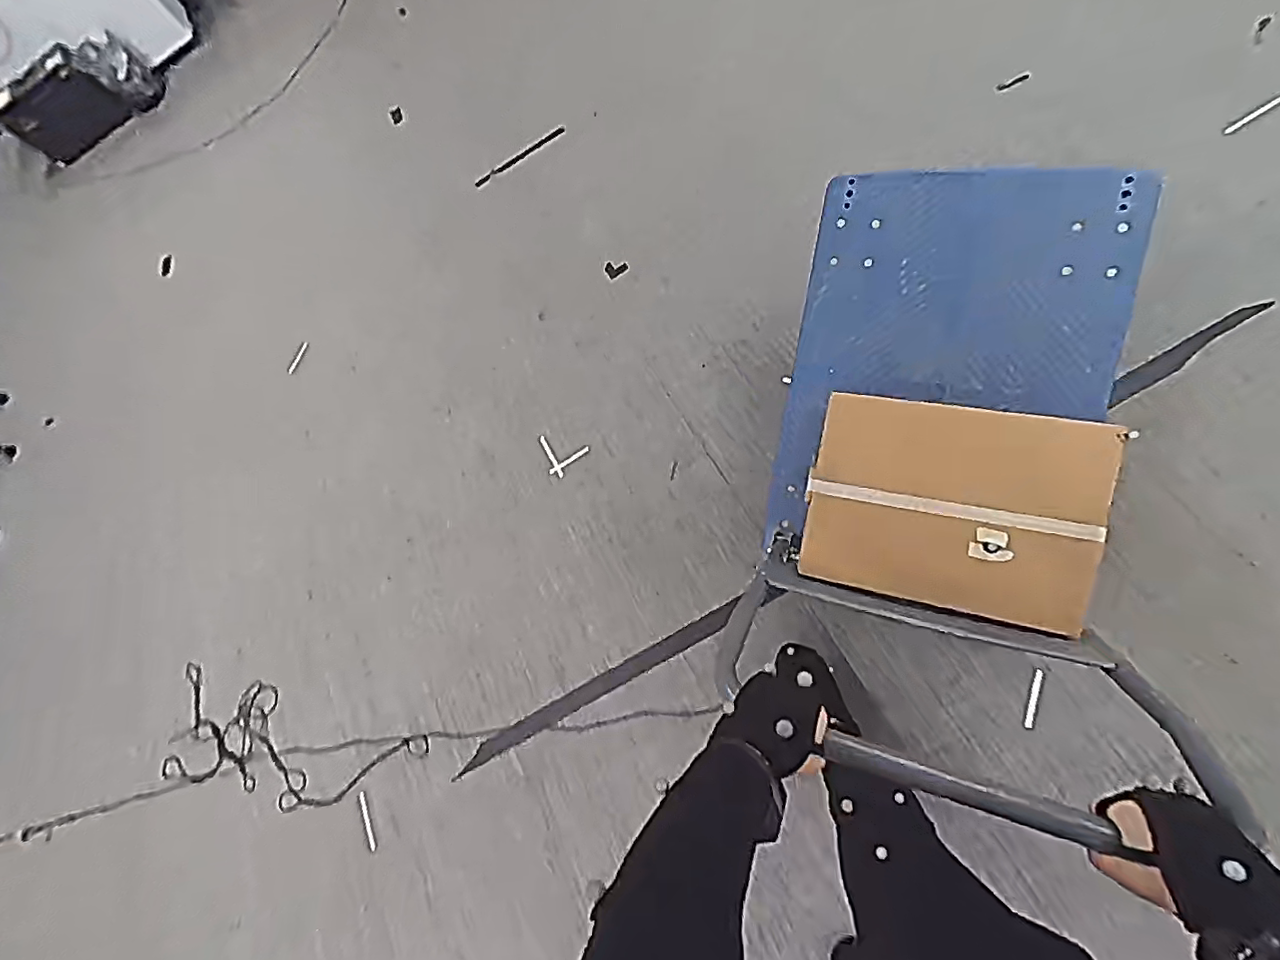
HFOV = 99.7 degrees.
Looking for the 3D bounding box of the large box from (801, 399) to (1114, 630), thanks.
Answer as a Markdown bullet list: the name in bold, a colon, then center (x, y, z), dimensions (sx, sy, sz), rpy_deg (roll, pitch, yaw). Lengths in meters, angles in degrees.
- **large box**: center (0.529, 0.040, 0.996), dimensions (0.408, 0.320, 0.320), rpy_deg (10, 96, 19)
